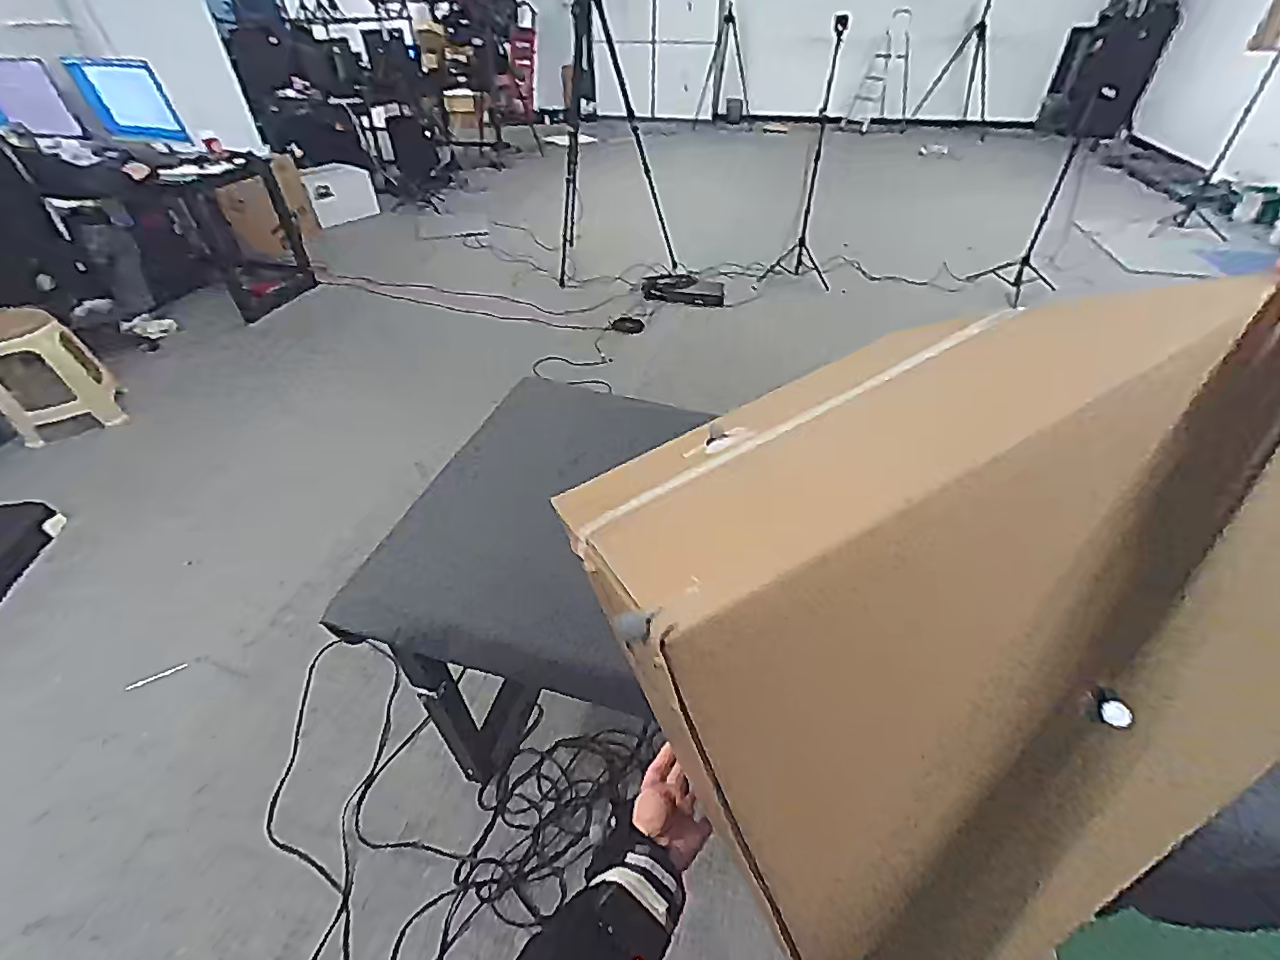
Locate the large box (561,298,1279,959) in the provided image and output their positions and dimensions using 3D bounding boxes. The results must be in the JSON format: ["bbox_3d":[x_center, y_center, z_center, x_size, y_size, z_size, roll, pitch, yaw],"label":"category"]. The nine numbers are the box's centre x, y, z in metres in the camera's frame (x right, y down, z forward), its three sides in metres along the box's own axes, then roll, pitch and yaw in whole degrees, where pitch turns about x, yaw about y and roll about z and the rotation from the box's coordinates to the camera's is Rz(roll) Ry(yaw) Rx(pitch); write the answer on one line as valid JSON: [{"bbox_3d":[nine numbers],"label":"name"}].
[{"bbox_3d":[0.203,0.095,0.447,0.408,0.320,0.320,-28,15,-12],"label":"large box"}]
